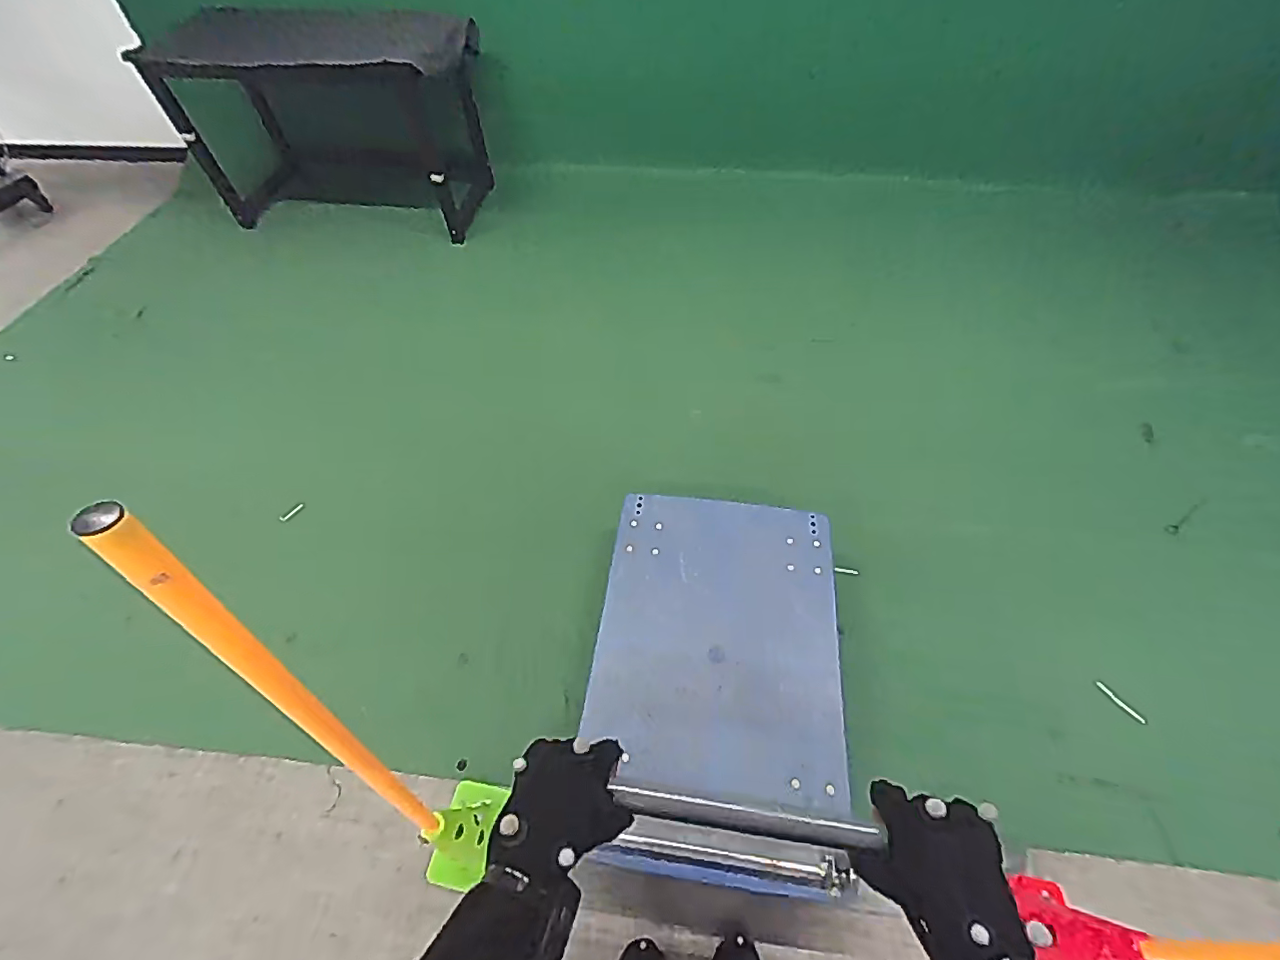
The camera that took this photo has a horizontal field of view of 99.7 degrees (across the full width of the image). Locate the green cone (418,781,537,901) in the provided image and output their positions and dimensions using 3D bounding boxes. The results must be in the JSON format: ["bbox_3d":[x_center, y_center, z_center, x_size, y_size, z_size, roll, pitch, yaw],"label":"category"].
[{"bbox_3d":[-0.355,0.702,1.081,0.202,0.368,0.200,8,53,8],"label":"green cone"}]
